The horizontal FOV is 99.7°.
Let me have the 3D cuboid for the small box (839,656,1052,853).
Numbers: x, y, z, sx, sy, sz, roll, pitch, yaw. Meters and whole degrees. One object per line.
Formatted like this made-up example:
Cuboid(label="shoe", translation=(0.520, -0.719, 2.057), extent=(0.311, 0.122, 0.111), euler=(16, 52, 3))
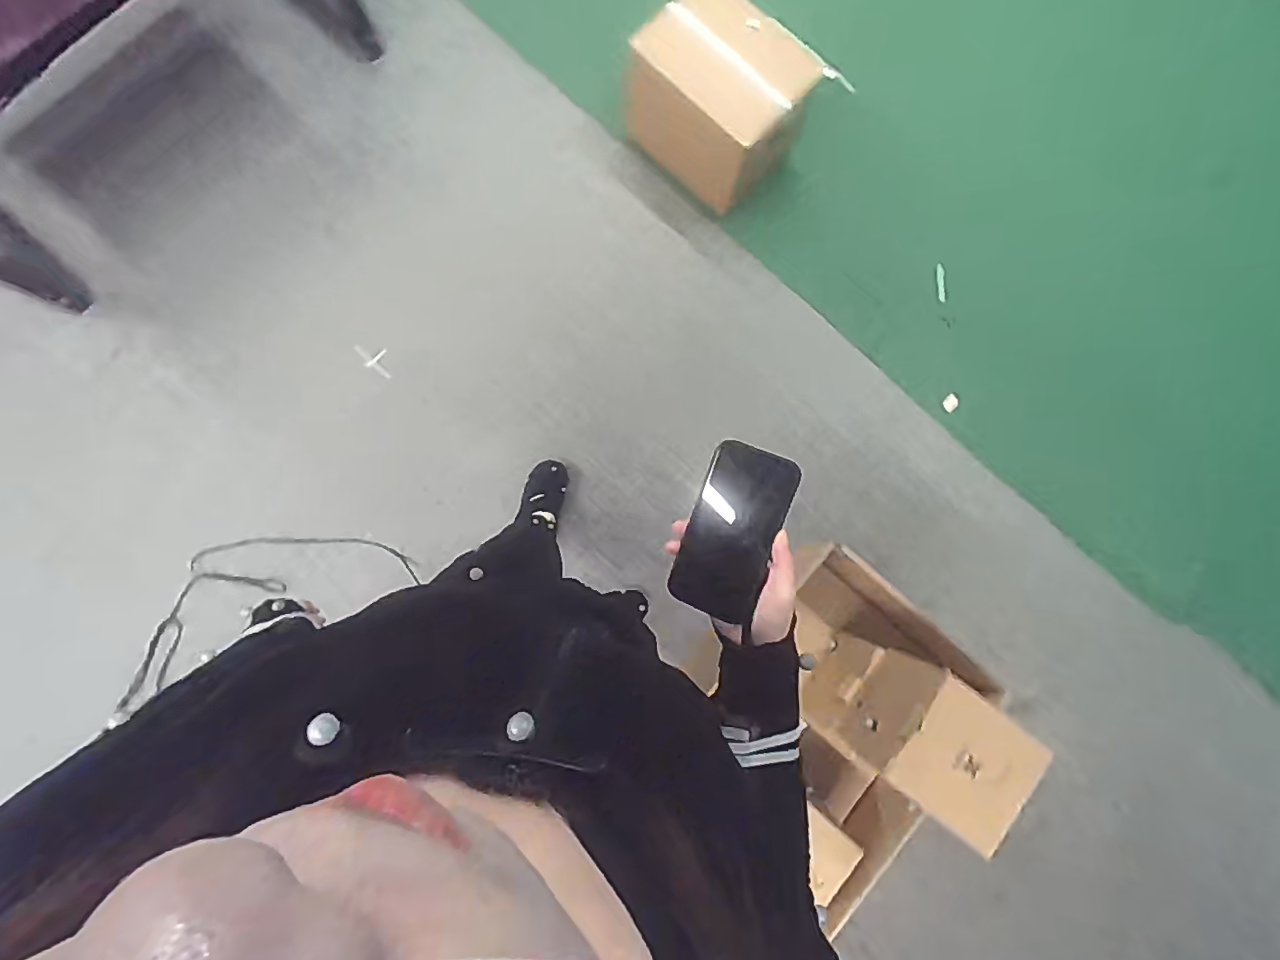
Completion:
Cuboid(label="small box", translation=(0.428, 0.380, 0.791), extent=(0.179, 0.176, 0.168), euler=(39, 85, 1))
